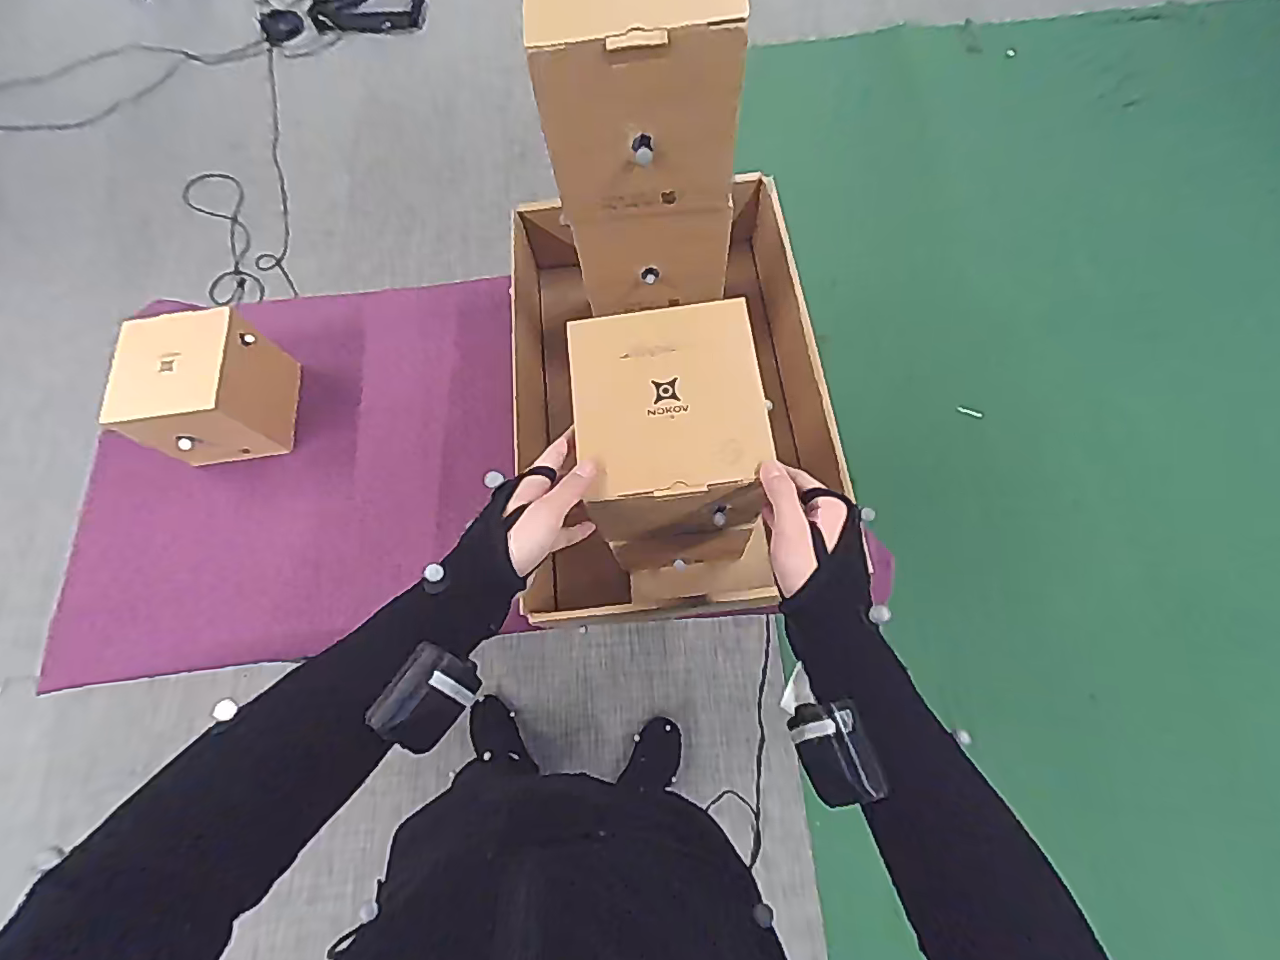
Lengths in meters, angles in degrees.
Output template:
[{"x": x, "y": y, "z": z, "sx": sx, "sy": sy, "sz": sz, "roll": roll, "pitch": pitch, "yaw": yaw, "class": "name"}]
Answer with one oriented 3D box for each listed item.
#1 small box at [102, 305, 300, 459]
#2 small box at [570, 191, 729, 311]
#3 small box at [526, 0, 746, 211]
[{"x": -0.671, "y": -0.143, "z": 0.853, "sx": 0.168, "sy": 0.176, "sz": 0.179, "roll": -8, "pitch": 69, "yaw": 0, "class": "small box"}, {"x": 0.012, "y": -0.320, "z": 0.648, "sx": 0.168, "sy": 0.176, "sz": 0.179, "roll": -4, "pitch": 71, "yaw": 2, "class": "small box"}, {"x": -0.001, "y": -0.371, "z": 0.493, "sx": 0.168, "sy": 0.176, "sz": 0.179, "roll": -4, "pitch": 72, "yaw": 2, "class": "small box"}]
